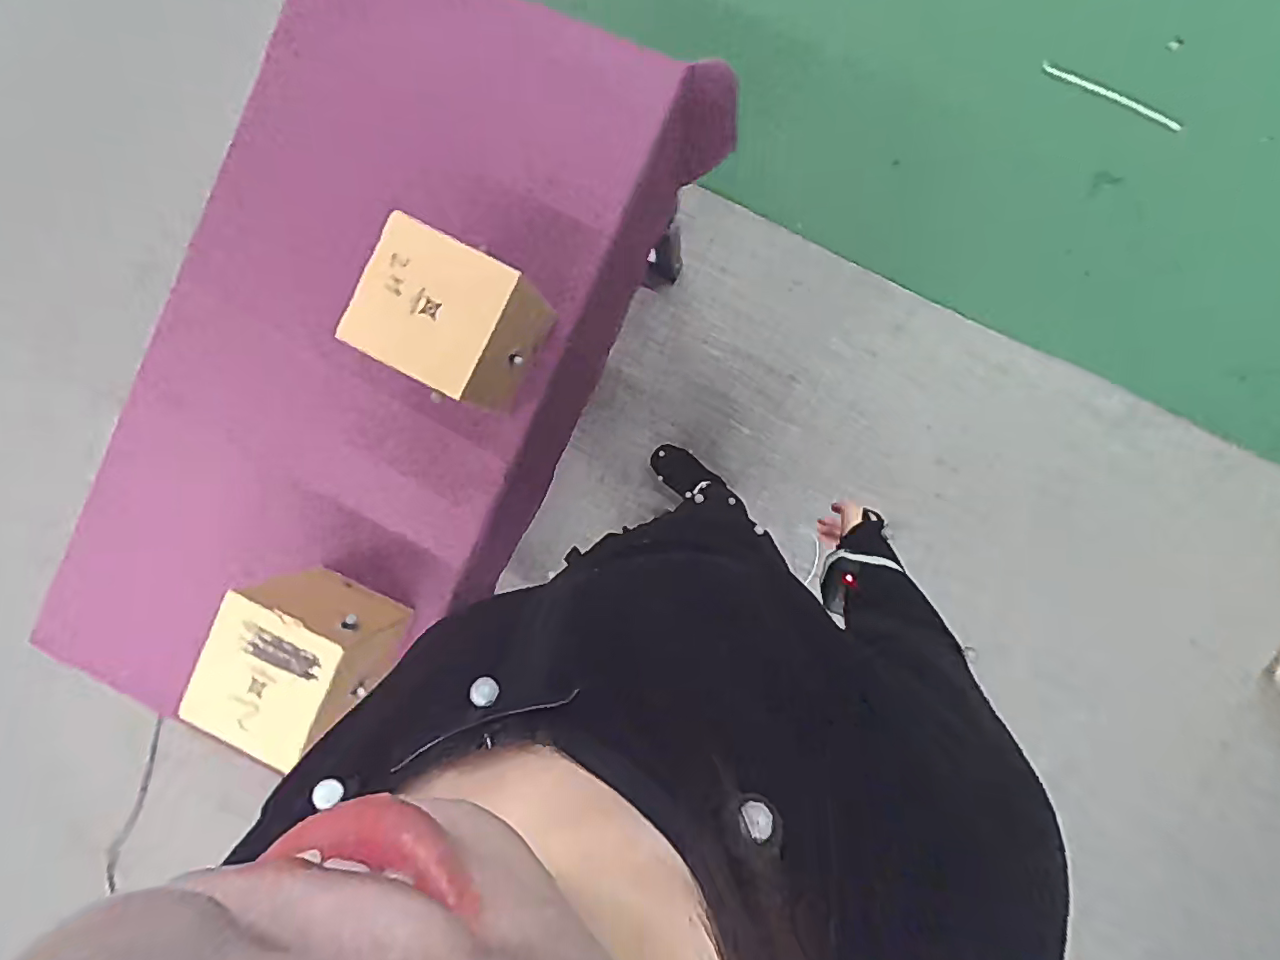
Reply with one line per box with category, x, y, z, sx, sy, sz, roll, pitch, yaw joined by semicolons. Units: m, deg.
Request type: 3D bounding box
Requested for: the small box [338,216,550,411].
small box;-0.241;-0.201;0.711;0.179;0.176;0.168;28;92;4
